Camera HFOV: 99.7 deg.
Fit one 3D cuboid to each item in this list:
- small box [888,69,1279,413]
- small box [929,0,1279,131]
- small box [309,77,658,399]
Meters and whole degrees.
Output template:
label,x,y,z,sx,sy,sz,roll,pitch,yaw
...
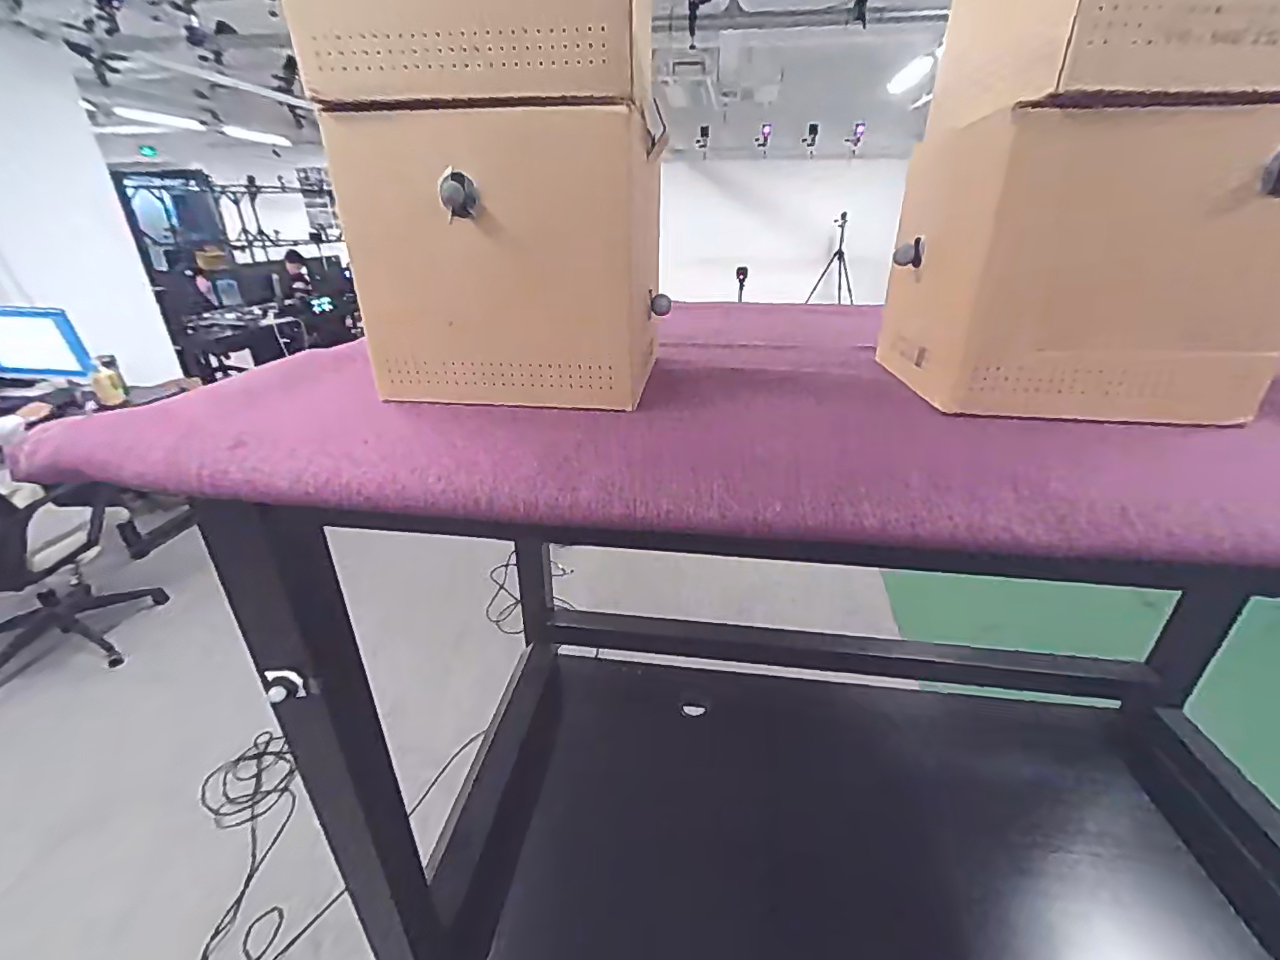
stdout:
label,x,y,z,sx,sy,sz,roll,pitch,yaw
small box,0.280,-0.147,0.360,0.179,0.176,0.168,3,25,7
small box,0.287,-0.294,0.291,0.168,0.176,0.179,4,24,4
small box,-0.082,-0.161,0.382,0.179,0.176,0.168,3,27,6
